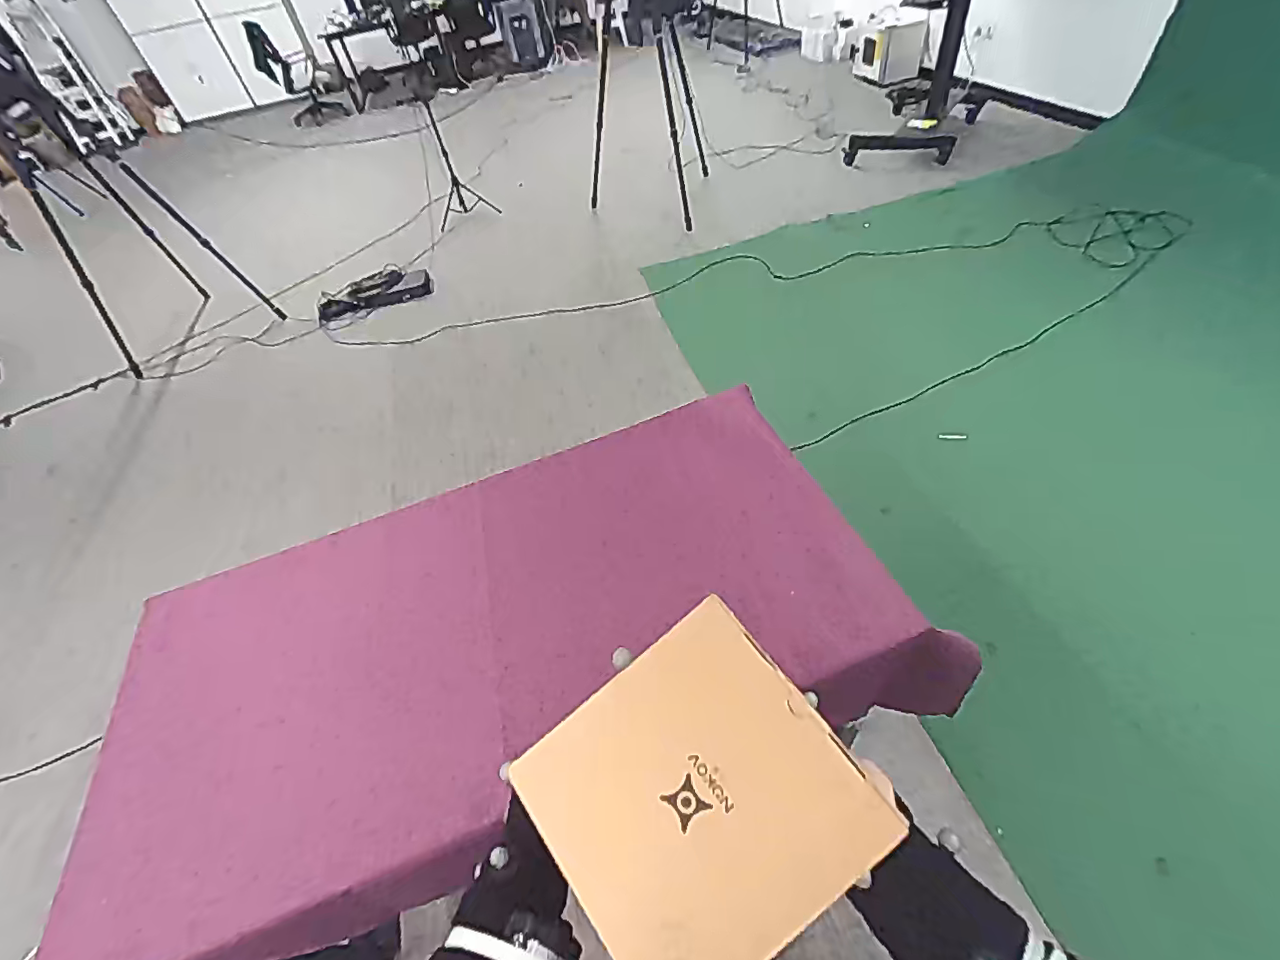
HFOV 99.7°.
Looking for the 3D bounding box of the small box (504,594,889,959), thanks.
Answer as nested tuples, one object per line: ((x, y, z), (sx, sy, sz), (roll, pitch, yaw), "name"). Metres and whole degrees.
((0.041, 0.212, 0.395), (0.179, 0.176, 0.168), (-39, 68, -5), "small box")
